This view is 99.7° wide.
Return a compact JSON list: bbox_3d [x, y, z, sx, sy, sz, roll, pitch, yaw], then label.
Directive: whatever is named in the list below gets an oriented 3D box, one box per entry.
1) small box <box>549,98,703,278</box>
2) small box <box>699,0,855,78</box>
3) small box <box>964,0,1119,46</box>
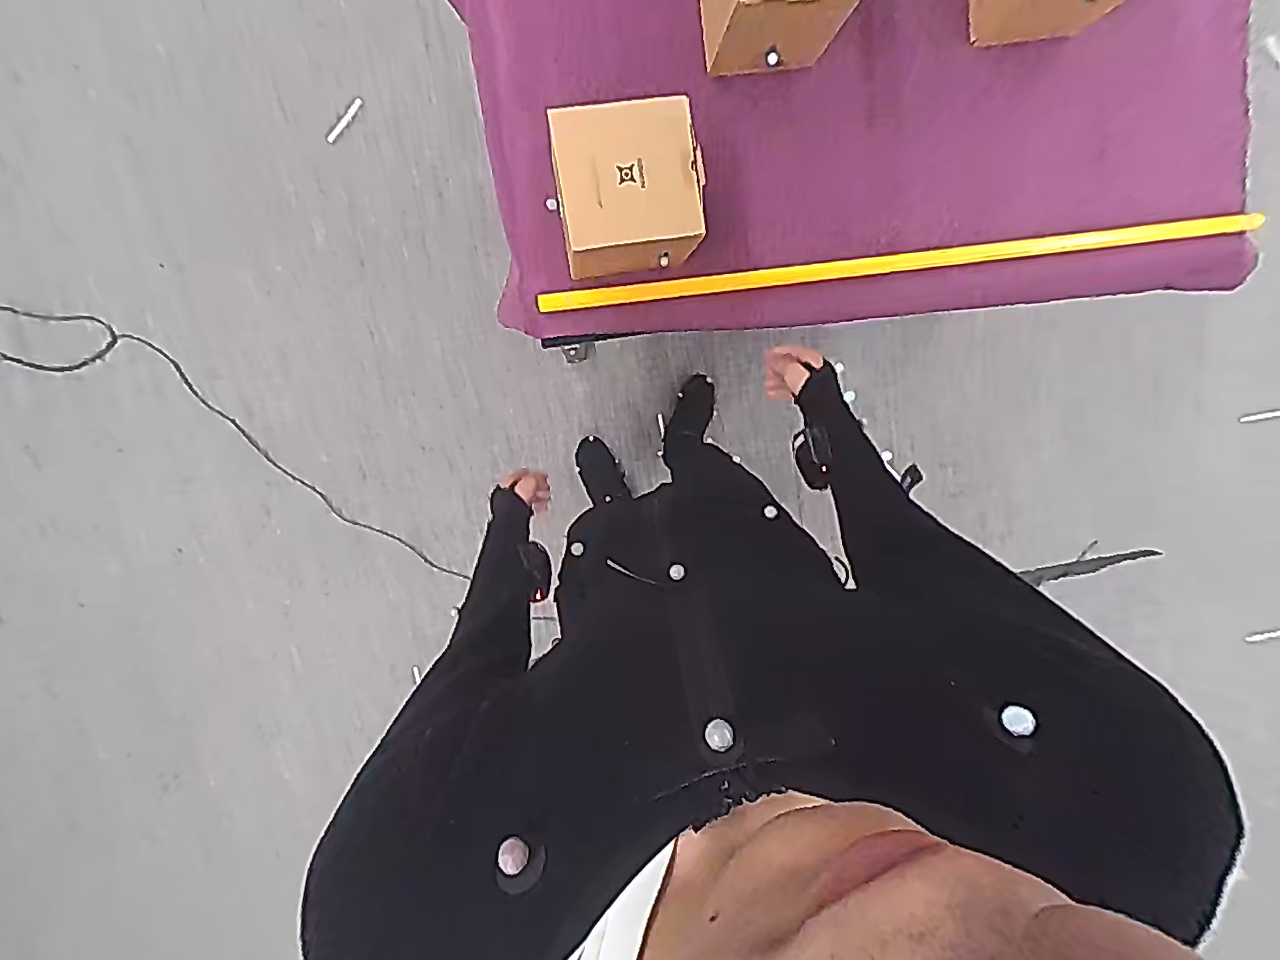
[{"bbox_3d":[-0.027,-0.389,0.747,0.179,0.176,0.168,-10,99,-6],"label":"small box"},{"bbox_3d":[0.173,-0.685,0.722,0.168,0.176,0.179,-9,101,-4],"label":"small box"},{"bbox_3d":[0.590,-0.749,0.754,0.179,0.176,0.168,-9,101,-4],"label":"small box"}]
